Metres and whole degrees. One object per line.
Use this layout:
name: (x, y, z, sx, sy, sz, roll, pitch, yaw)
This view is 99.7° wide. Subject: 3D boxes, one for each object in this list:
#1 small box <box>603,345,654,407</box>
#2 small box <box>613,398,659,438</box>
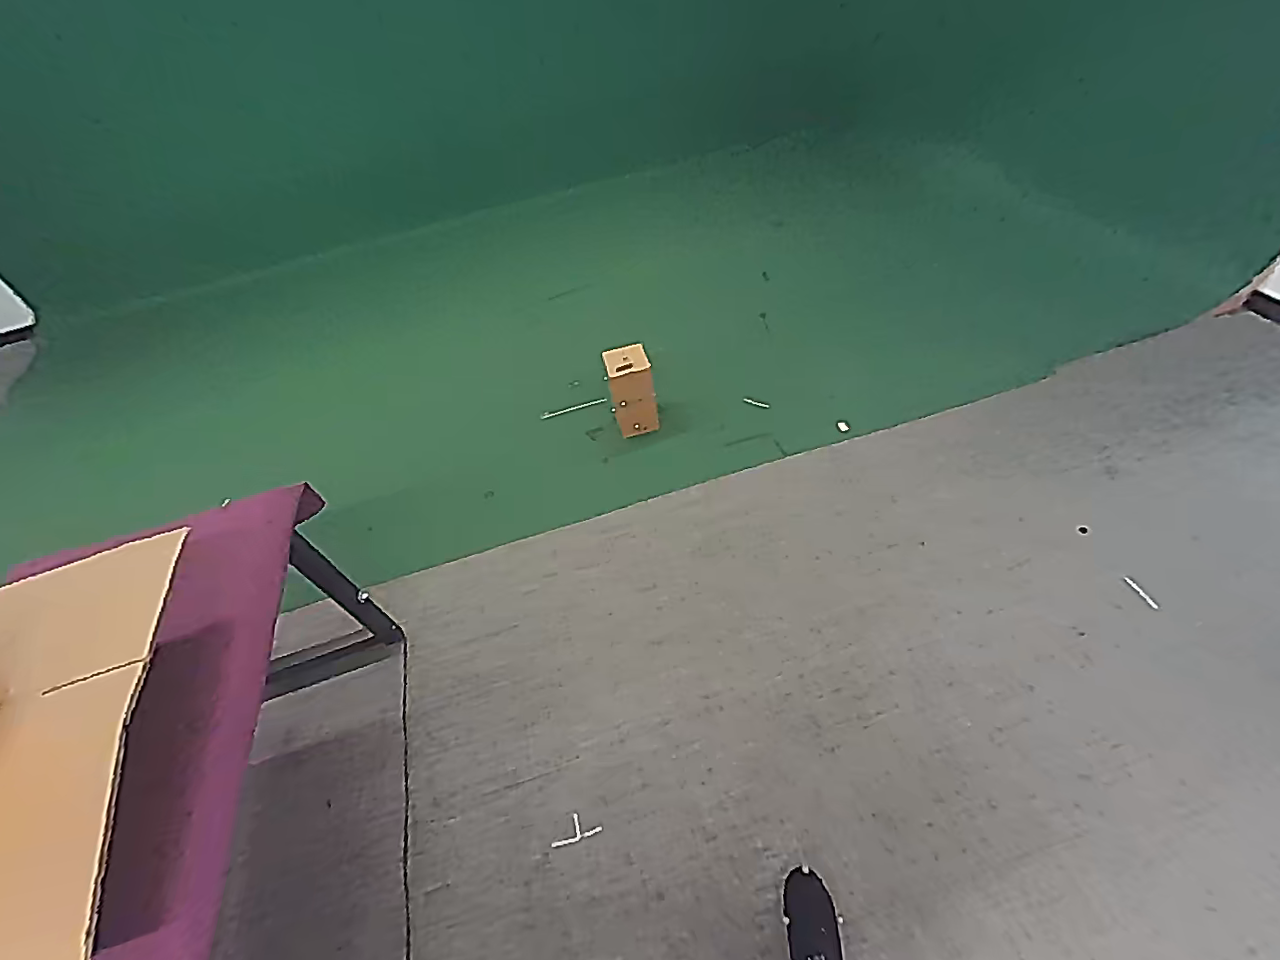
small box: (-0.045, -0.415, 2.194, 0.168, 0.176, 0.179, -14, 48, -3)
small box: (-0.023, -0.308, 2.317, 0.168, 0.176, 0.179, -15, 49, -3)
